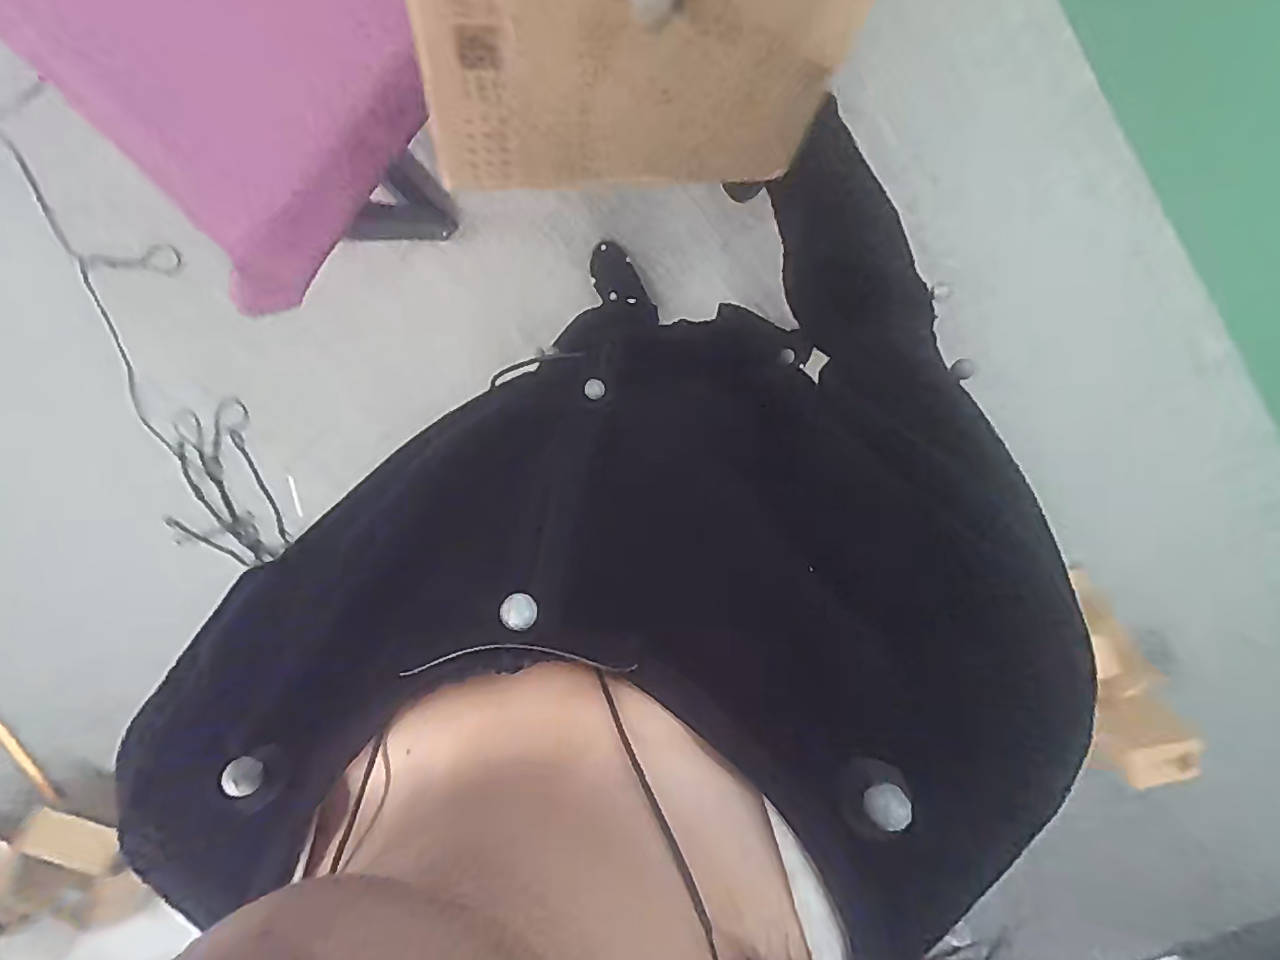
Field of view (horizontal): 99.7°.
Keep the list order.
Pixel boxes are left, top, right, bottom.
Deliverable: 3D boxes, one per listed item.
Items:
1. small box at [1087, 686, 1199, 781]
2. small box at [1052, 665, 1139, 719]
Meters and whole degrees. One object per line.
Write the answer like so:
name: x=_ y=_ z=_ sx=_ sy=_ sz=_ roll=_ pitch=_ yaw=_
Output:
small box: x=1.457 y=0.731 z=1.572 sx=0.179 sy=0.176 sz=0.168 roll=-21 pitch=112 yaw=12
small box: x=1.464 y=0.667 z=1.723 sx=0.168 sy=0.176 sz=0.179 roll=-38 pitch=108 yaw=17
